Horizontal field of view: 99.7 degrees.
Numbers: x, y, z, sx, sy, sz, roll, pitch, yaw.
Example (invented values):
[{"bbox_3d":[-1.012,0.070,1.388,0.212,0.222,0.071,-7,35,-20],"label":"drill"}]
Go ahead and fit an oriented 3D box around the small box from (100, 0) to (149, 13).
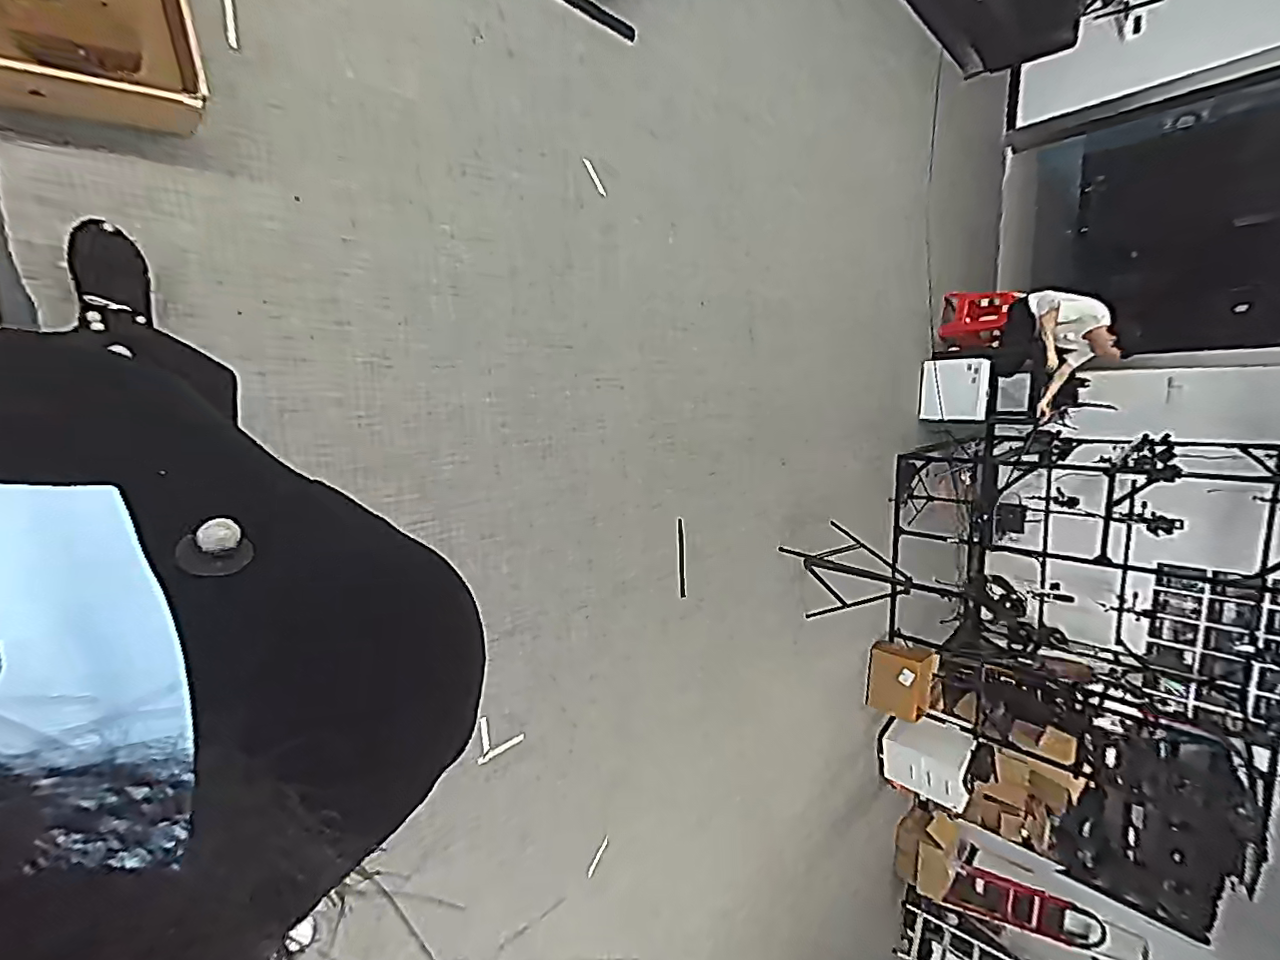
[{"bbox_3d":[-0.838,-0.840,0.785,0.168,0.176,0.179,-16,106,-42],"label":"small box"}]
